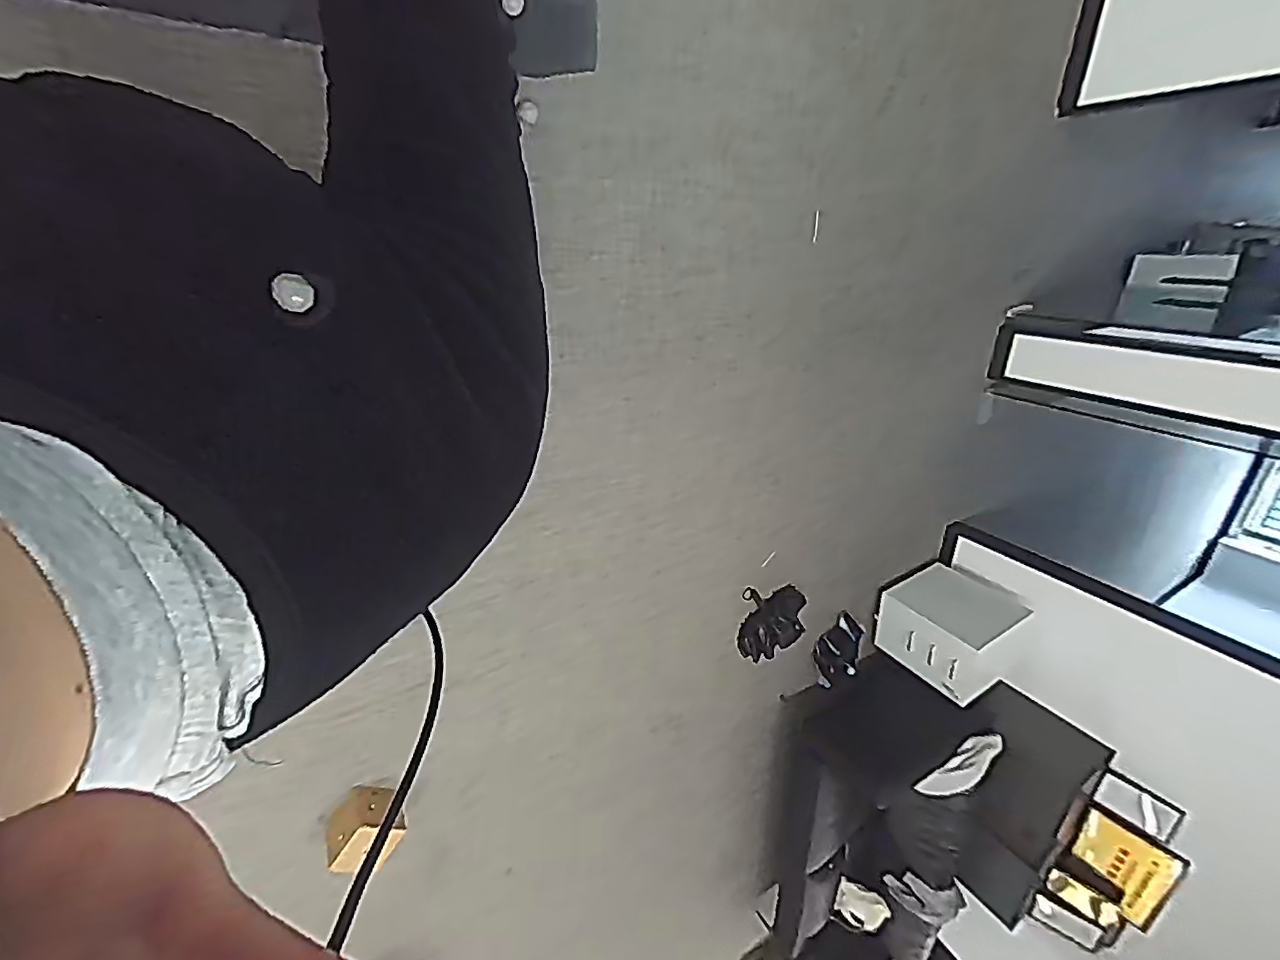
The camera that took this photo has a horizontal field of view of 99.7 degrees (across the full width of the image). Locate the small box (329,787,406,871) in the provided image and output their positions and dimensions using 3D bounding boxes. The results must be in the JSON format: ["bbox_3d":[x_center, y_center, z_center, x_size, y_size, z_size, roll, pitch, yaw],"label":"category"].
[{"bbox_3d":[-0.919,1.165,1.810,0.168,0.176,0.179,35,90,-38],"label":"small box"}]
